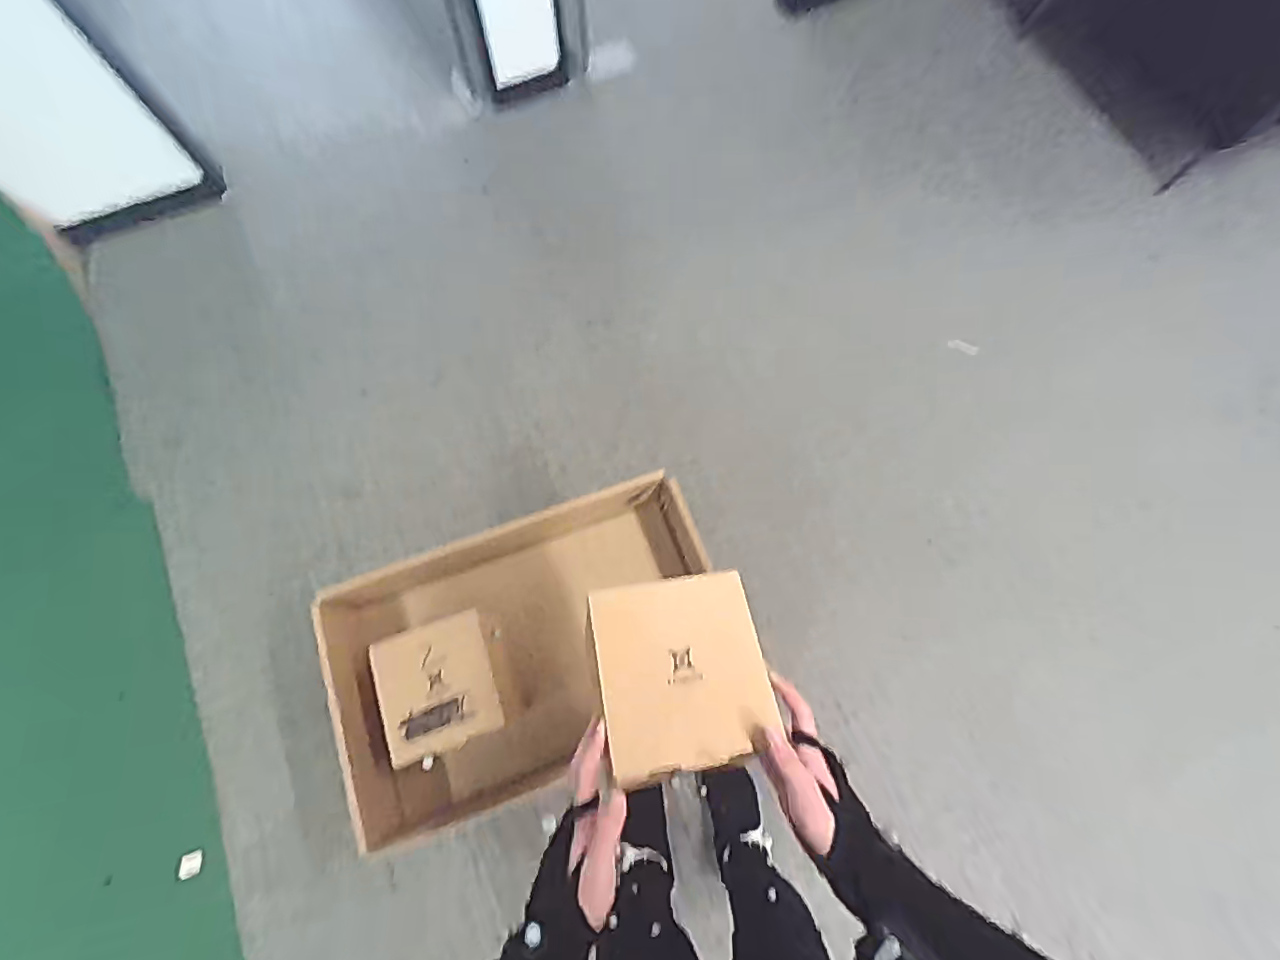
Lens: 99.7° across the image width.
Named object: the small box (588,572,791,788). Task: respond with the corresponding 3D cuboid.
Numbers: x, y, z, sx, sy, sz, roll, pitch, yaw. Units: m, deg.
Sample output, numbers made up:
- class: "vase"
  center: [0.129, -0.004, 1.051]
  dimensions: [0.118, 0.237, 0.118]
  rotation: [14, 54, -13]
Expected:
- class: "small box"
  center: [0.035, 0.220, 0.586]
  dimensions: [0.168, 0.176, 0.179]
  rotation: [-7, 61, -10]
